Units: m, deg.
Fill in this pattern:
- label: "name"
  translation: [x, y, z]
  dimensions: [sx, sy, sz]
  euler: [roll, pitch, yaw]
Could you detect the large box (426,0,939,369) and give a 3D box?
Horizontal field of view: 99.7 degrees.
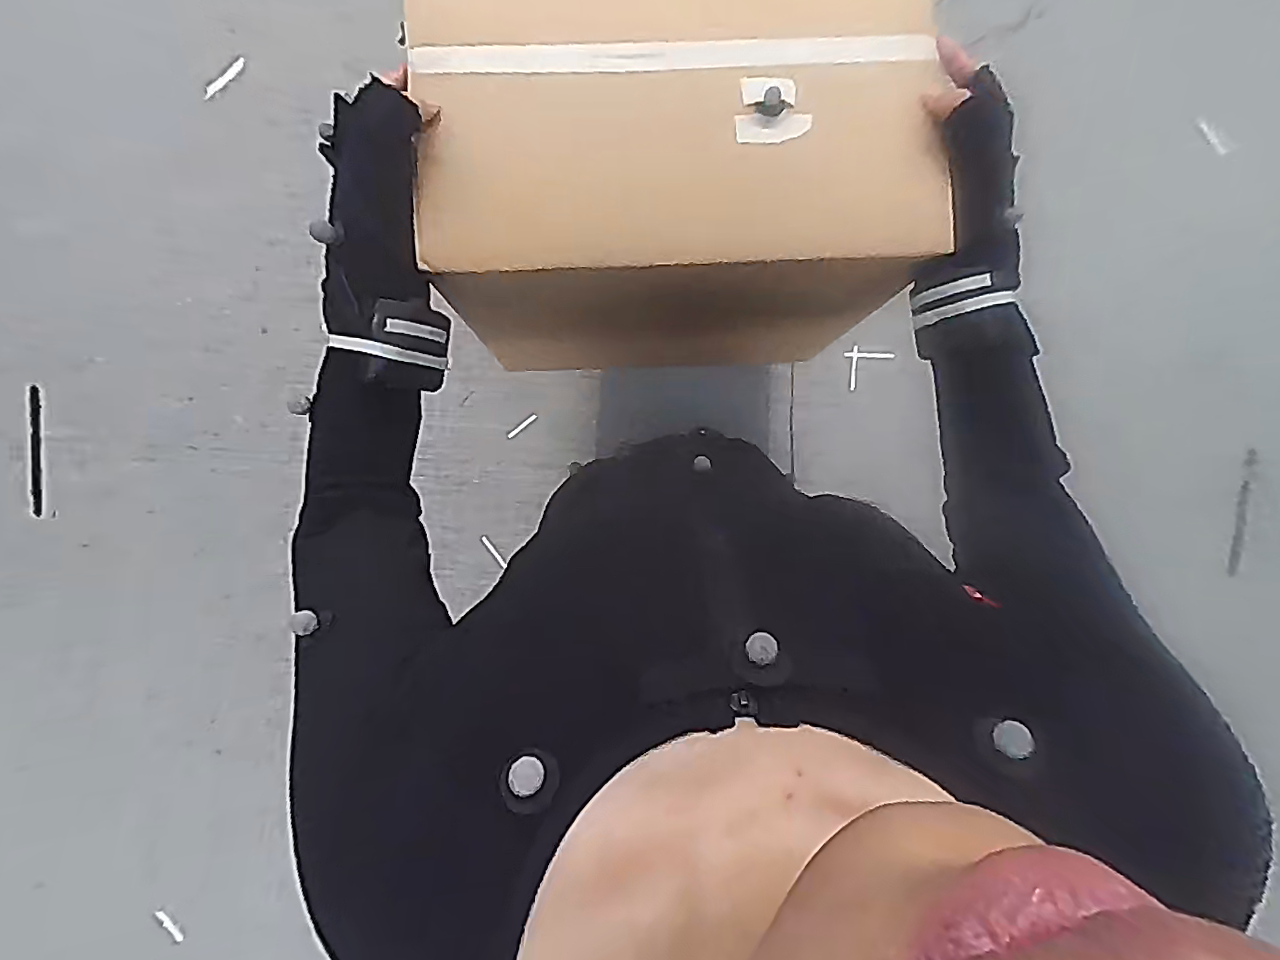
- label: "large box"
  translation: [0.025, -0.316, 0.577]
  dimensions: [0.408, 0.320, 0.320]
  euler: [-3, 88, -3]
